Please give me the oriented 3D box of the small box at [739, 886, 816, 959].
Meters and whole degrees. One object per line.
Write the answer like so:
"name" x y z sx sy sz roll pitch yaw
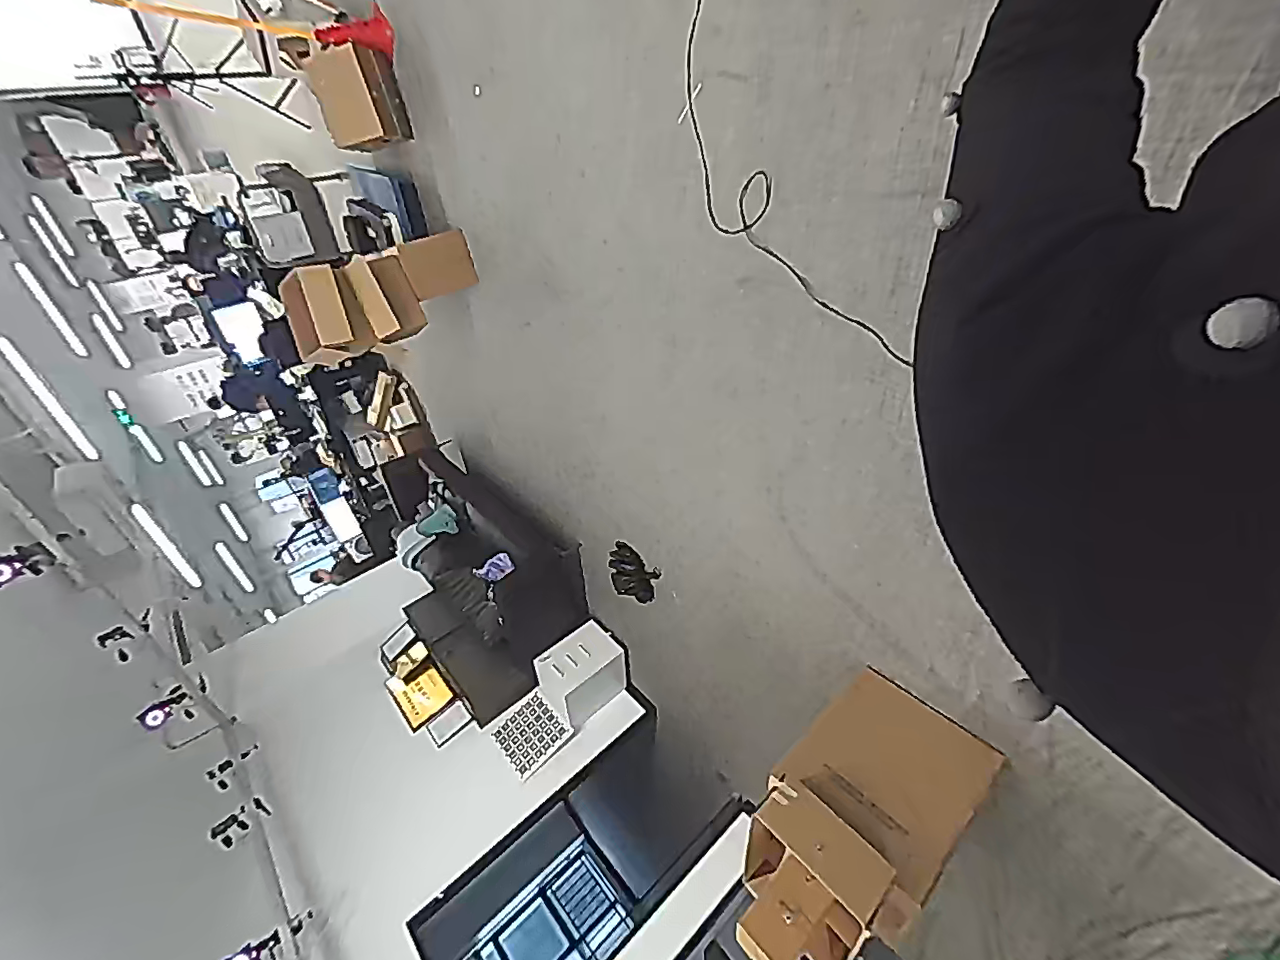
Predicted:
"small box" 0.421 1.411 1.660 0.168 0.176 0.179 29 137 40
